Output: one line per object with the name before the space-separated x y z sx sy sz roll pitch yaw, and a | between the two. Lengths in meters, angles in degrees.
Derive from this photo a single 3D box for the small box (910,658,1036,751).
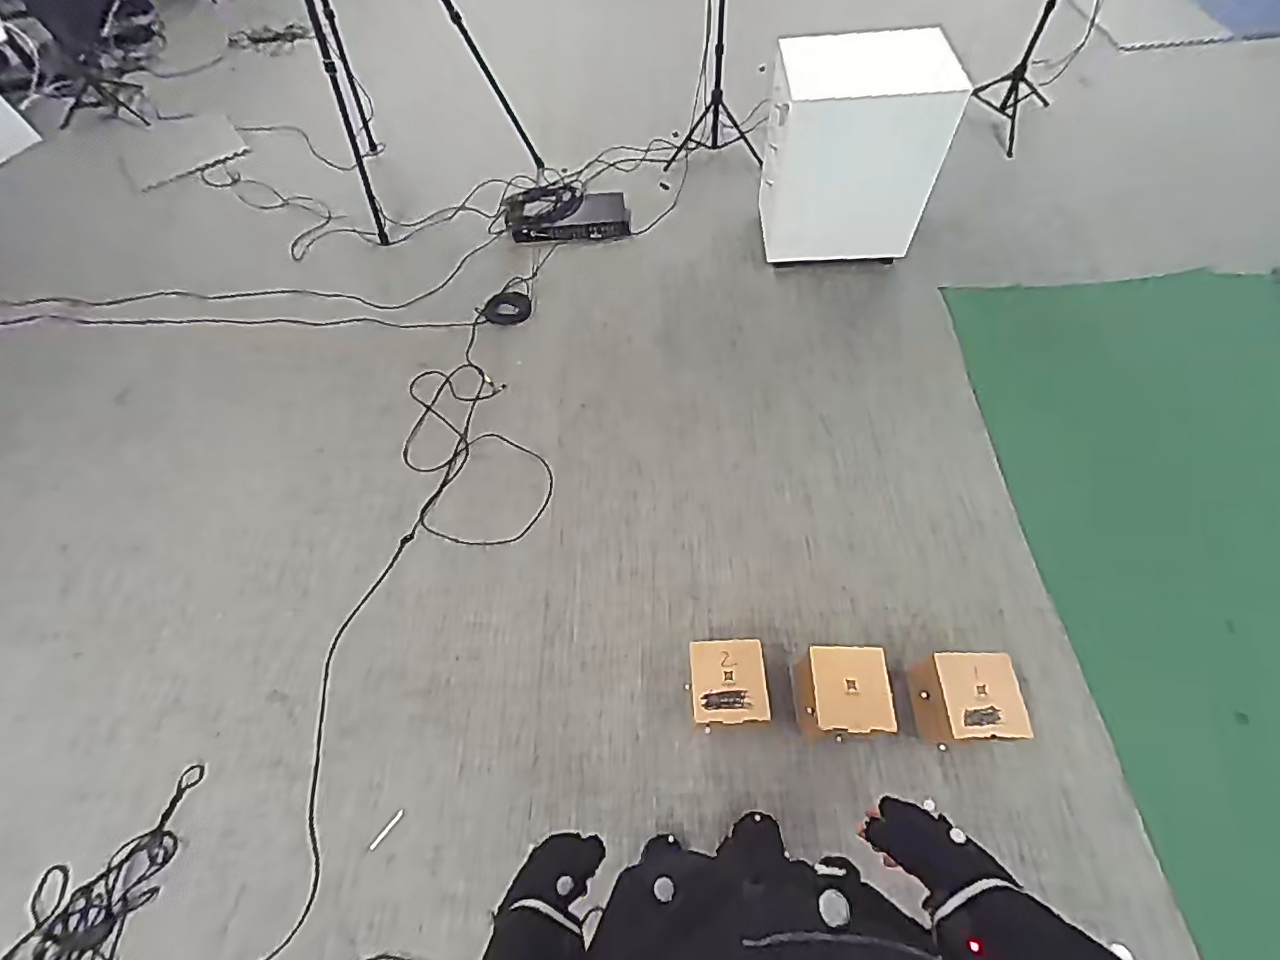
small box | 0.738 0.509 1.220 0.168 0.176 0.179 -1 59 3

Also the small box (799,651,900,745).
small box | 0.470 0.503 1.243 0.168 0.176 0.179 0 60 4
